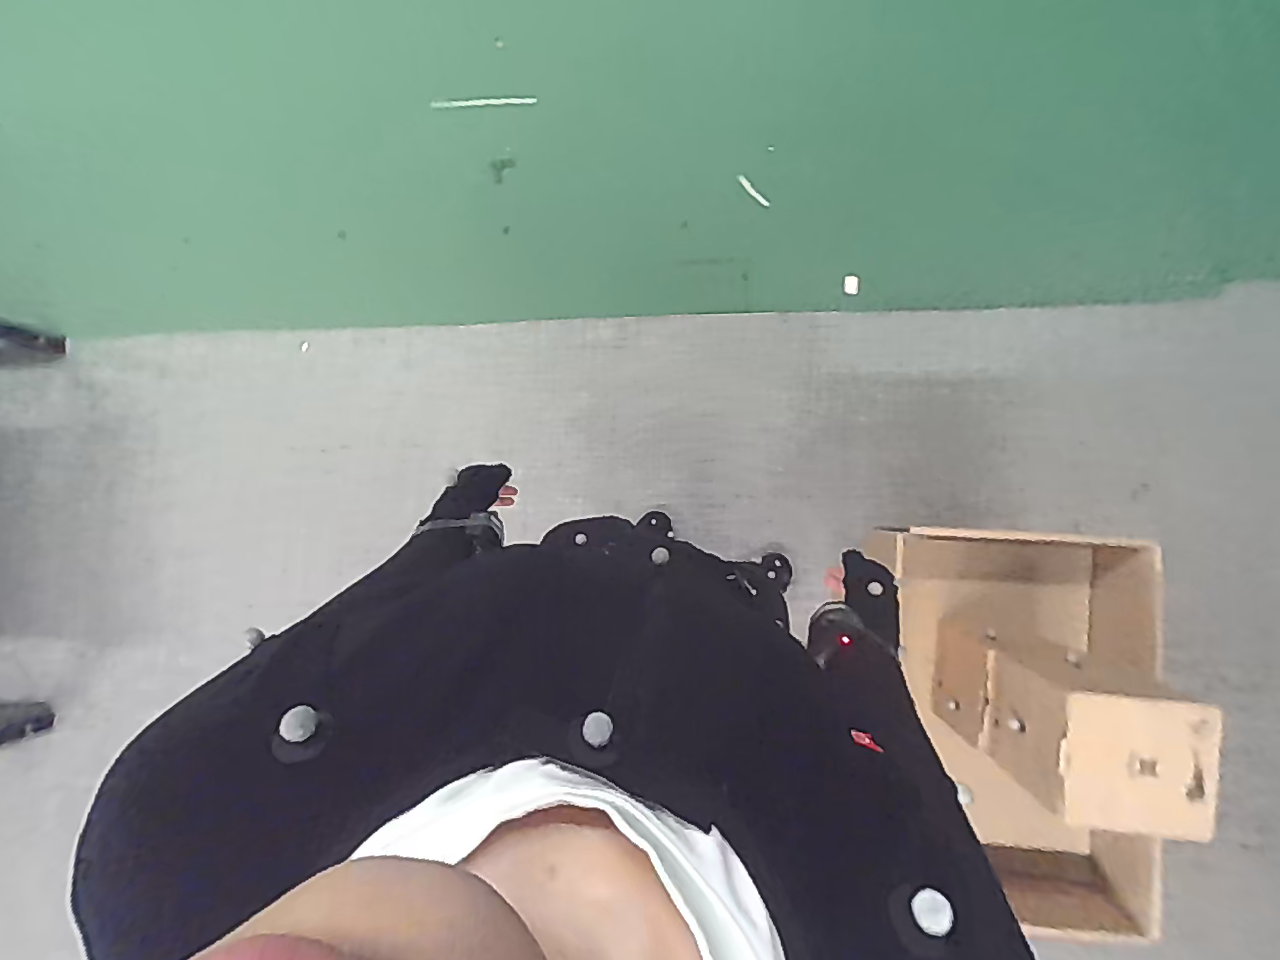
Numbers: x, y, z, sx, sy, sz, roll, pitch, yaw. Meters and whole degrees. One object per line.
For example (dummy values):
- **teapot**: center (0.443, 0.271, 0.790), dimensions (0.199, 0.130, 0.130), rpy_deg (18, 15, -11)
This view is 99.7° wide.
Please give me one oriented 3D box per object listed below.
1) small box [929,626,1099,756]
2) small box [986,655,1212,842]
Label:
- **small box**: center (0.615, 0.352, 0.910), dimensions (0.179, 0.176, 0.168), rpy_deg (5, 90, 3)
- **small box**: center (0.612, 0.352, 0.745), dimensions (0.179, 0.176, 0.168), rpy_deg (5, 90, 6)
